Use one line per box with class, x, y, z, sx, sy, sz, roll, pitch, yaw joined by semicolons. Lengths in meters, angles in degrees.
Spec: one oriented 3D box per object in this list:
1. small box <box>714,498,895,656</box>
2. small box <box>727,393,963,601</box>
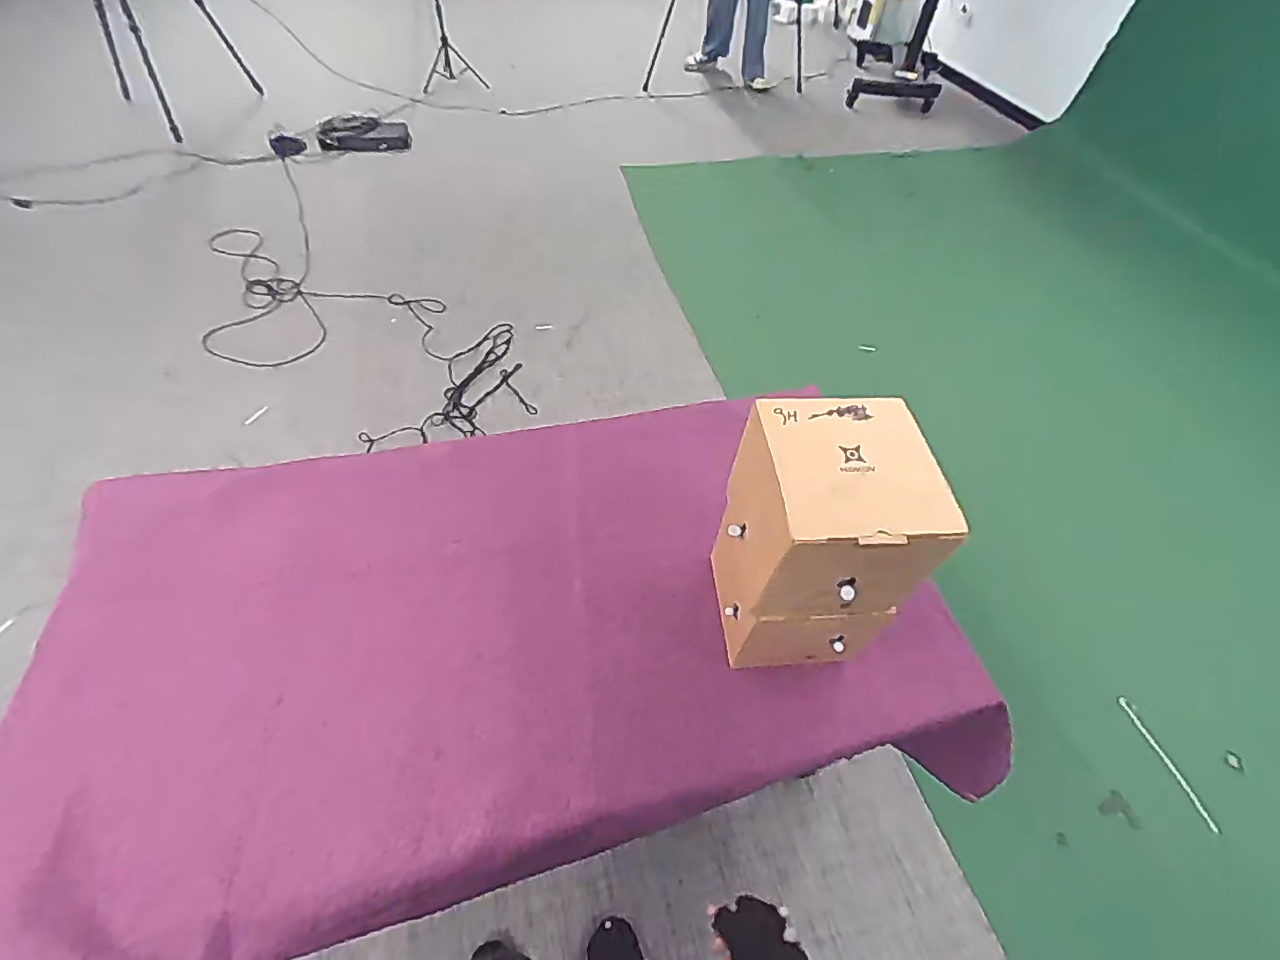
small box;0.201;0.126;0.720;0.168;0.176;0.179;-2;53;-5
small box;0.201;0.025;0.590;0.168;0.176;0.179;-1;54;-6
